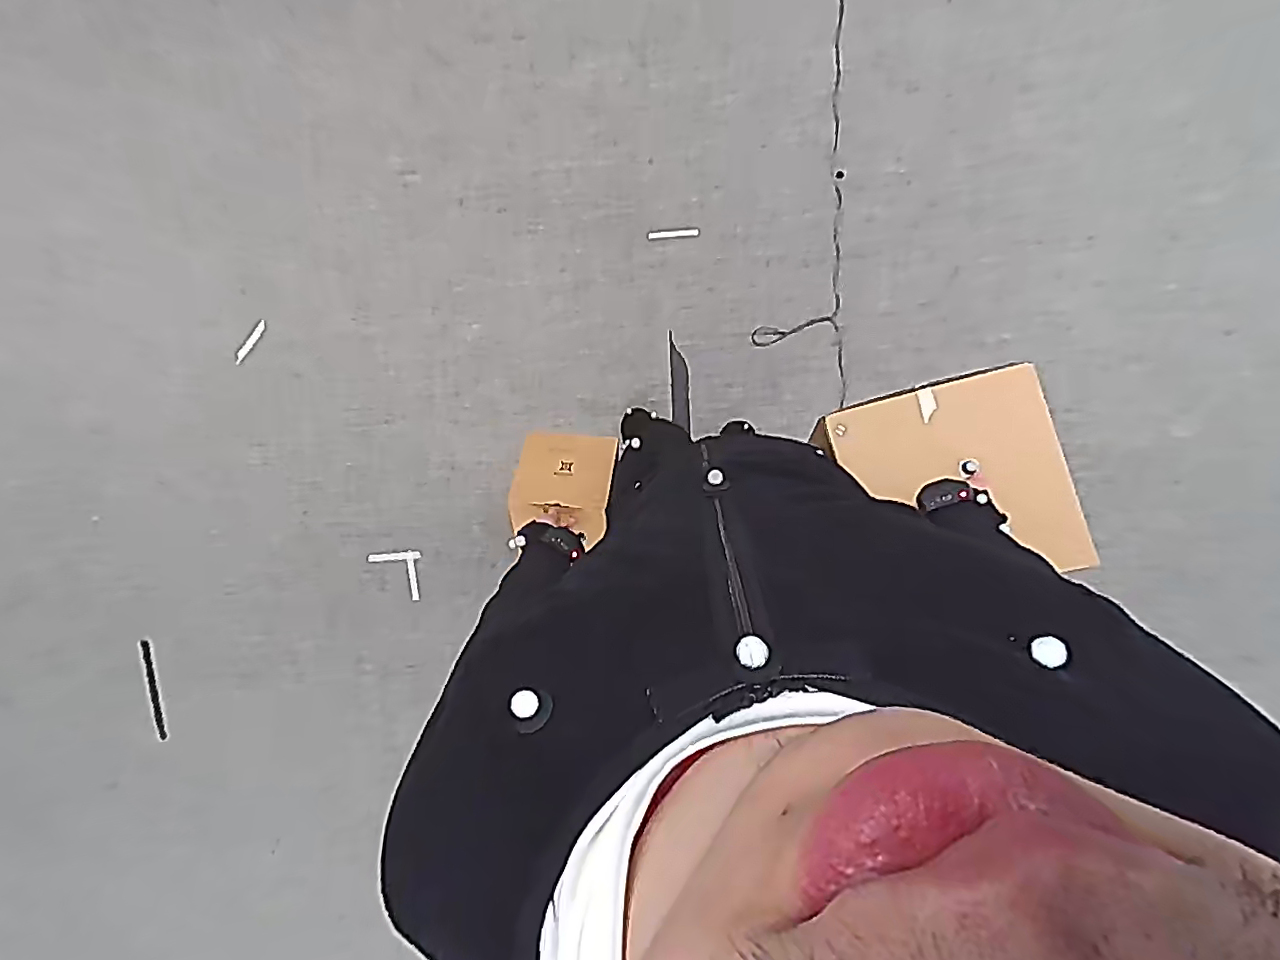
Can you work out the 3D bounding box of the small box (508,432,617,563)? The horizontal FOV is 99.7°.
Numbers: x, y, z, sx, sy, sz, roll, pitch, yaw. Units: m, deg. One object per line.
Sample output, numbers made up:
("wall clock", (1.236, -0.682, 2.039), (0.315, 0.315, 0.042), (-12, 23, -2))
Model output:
("small box", (-0.134, 0.035, 1.008), (0.168, 0.179, 0.176), (6, 138, 1))
